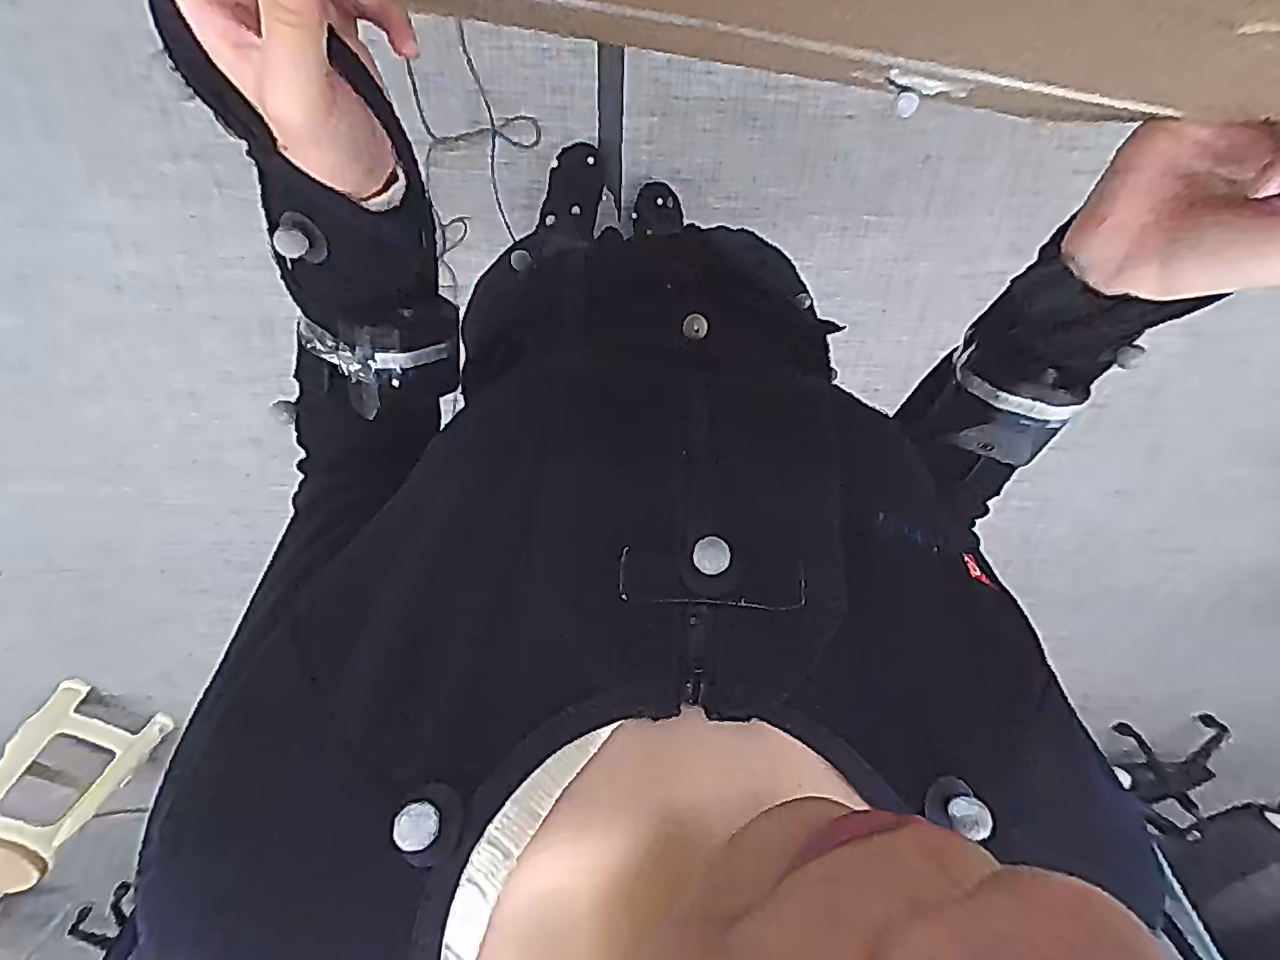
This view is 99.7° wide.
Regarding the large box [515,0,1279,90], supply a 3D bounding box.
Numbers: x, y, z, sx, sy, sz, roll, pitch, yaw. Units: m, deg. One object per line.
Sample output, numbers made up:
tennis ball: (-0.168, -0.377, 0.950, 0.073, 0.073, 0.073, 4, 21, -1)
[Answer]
large box: (0.087, -0.307, 0.116, 0.408, 0.320, 0.320, 4, 125, -6)
